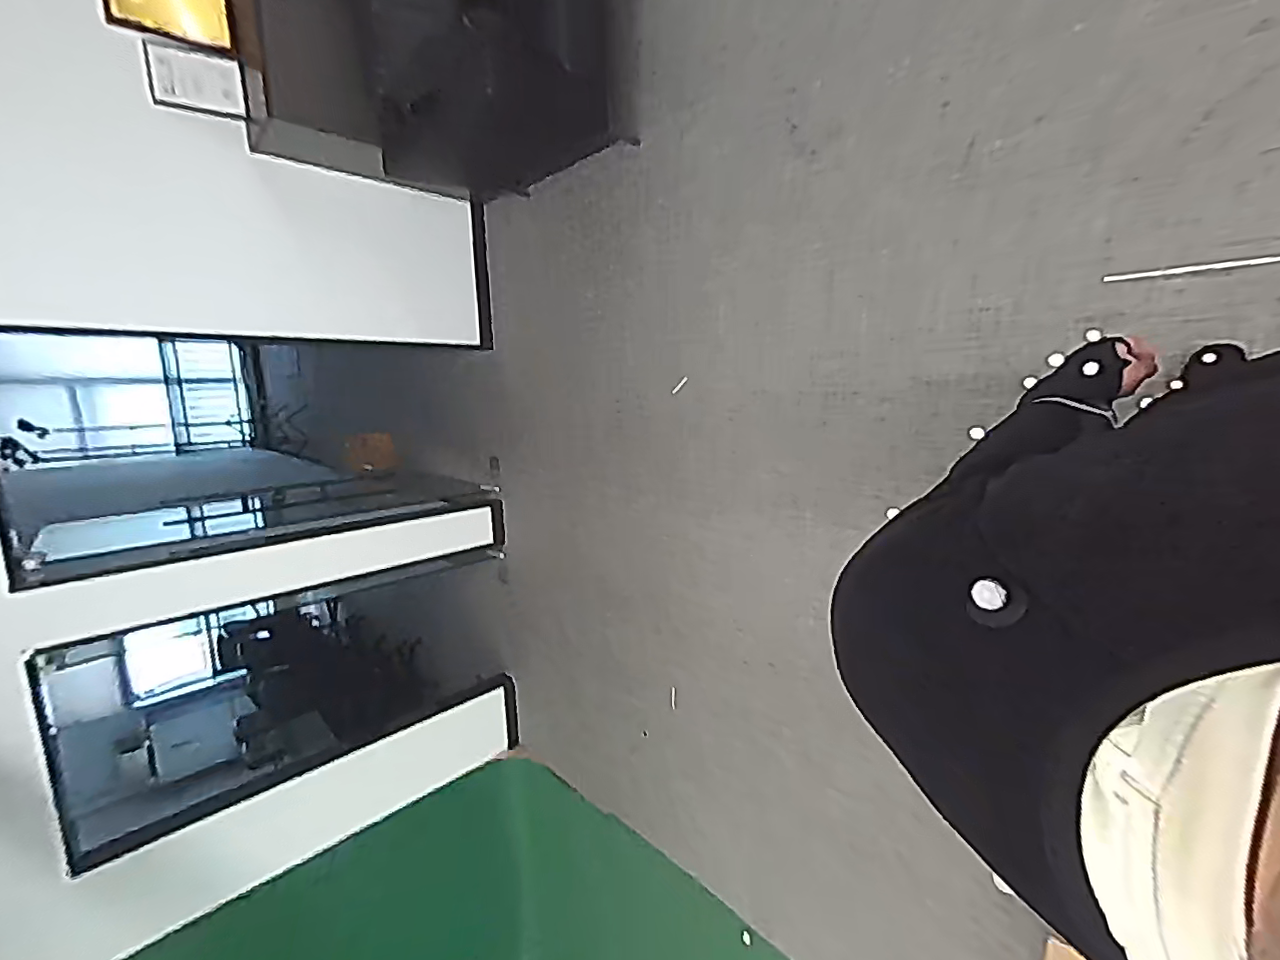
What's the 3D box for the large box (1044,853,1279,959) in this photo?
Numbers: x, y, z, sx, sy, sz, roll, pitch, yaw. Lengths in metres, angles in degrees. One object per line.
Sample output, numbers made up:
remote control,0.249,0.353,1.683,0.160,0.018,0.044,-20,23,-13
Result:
large box,1.182,1.174,1.218,0.408,0.320,0.320,12,105,46
